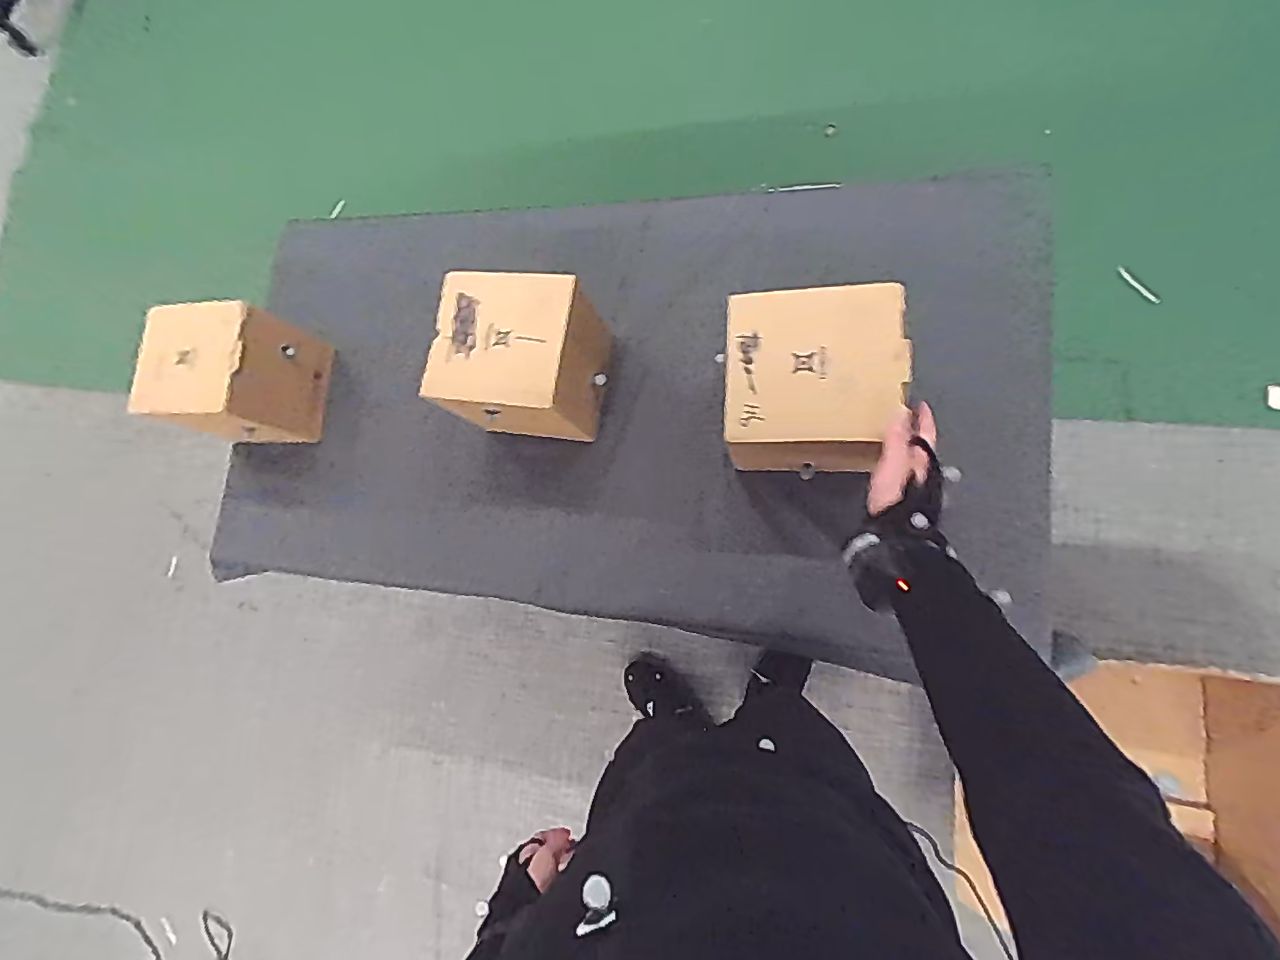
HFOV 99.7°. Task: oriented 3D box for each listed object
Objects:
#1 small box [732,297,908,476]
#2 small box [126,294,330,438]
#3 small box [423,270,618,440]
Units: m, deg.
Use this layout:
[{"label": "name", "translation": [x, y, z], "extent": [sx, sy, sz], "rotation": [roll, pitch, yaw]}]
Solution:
[{"label": "small box", "translation": [0.204, -0.099, 0.647], "extent": [0.179, 0.176, 0.168], "rotation": [-1, 81, 14]}, {"label": "small box", "translation": [-0.613, -0.165, 0.826], "extent": [0.179, 0.176, 0.168], "rotation": [1, 80, 15]}, {"label": "small box", "translation": [-0.148, -0.158, 0.723], "extent": [0.179, 0.176, 0.168], "rotation": [11, 85, 16]}]
